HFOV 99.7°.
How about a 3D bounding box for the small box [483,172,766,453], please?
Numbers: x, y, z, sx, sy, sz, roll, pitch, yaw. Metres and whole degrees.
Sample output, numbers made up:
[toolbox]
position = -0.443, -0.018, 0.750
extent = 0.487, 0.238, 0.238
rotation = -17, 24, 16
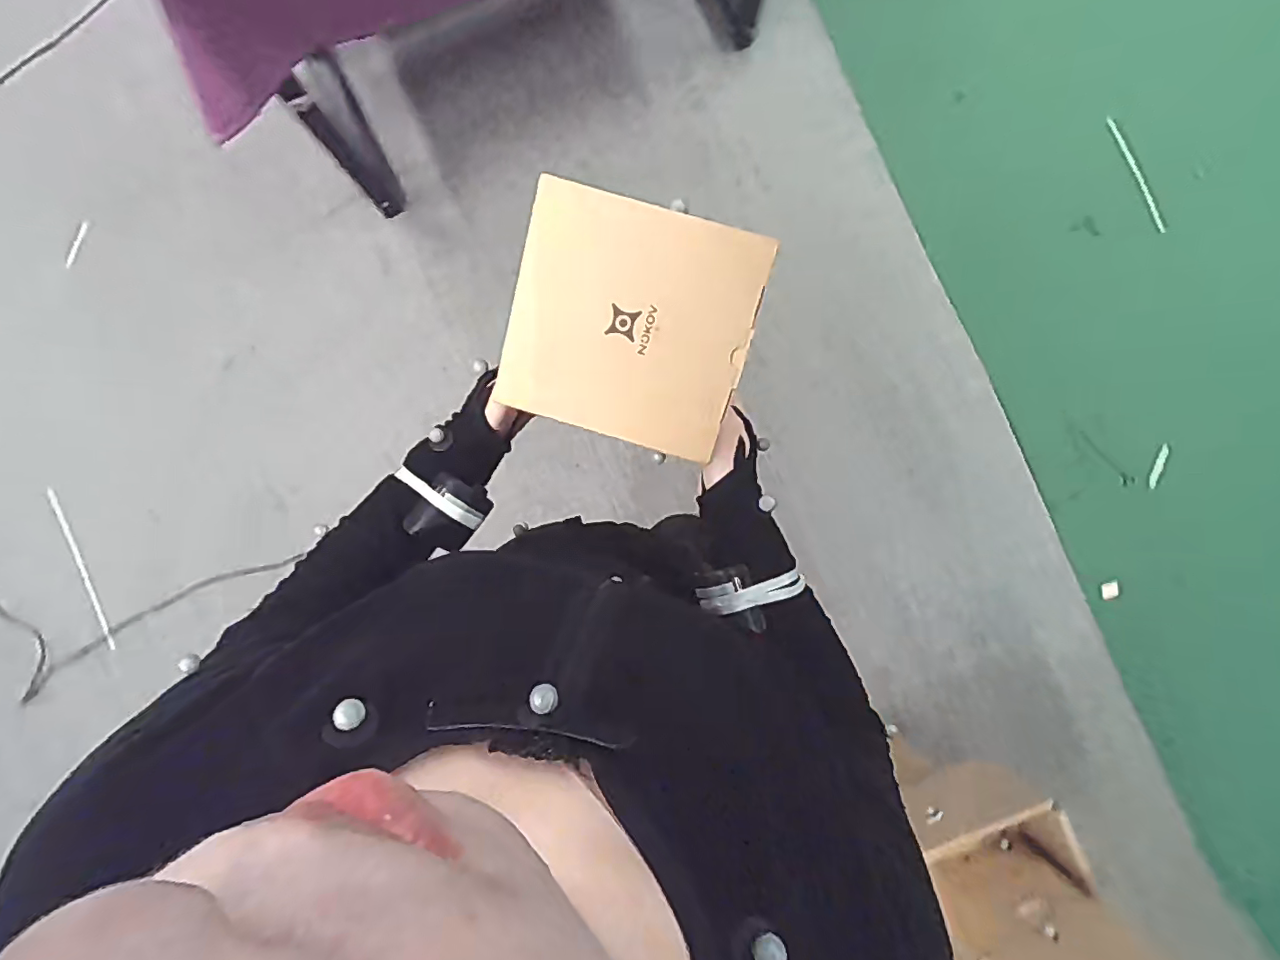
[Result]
[small box]
position = -0.009, -0.133, 0.470
extent = 0.179, 0.176, 0.168
rotation = 15, 102, 1
